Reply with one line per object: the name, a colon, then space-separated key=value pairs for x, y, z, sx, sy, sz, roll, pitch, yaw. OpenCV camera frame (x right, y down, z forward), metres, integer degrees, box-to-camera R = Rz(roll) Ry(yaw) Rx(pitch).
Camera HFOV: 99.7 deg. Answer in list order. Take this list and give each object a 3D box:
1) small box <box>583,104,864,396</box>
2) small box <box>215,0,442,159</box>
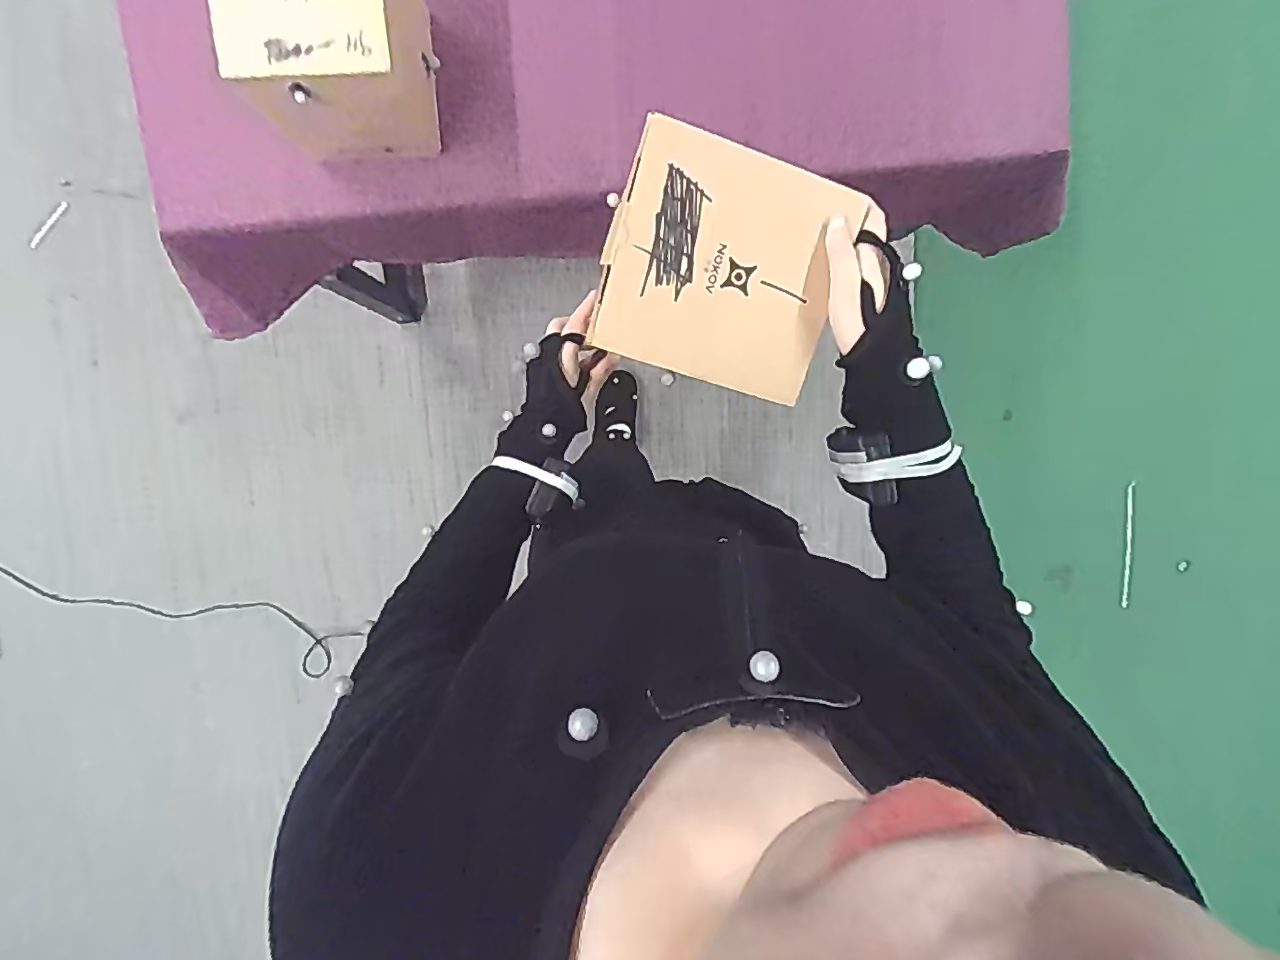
small box: x=0.054 y=-0.185 z=0.483 sx=0.179 sy=0.176 sz=0.168 roll=16 pitch=103 yaw=-10
small box: x=-0.334 y=-0.492 z=0.604 sx=0.168 sy=0.176 sz=0.179 roll=-3 pitch=95 yaw=-2
